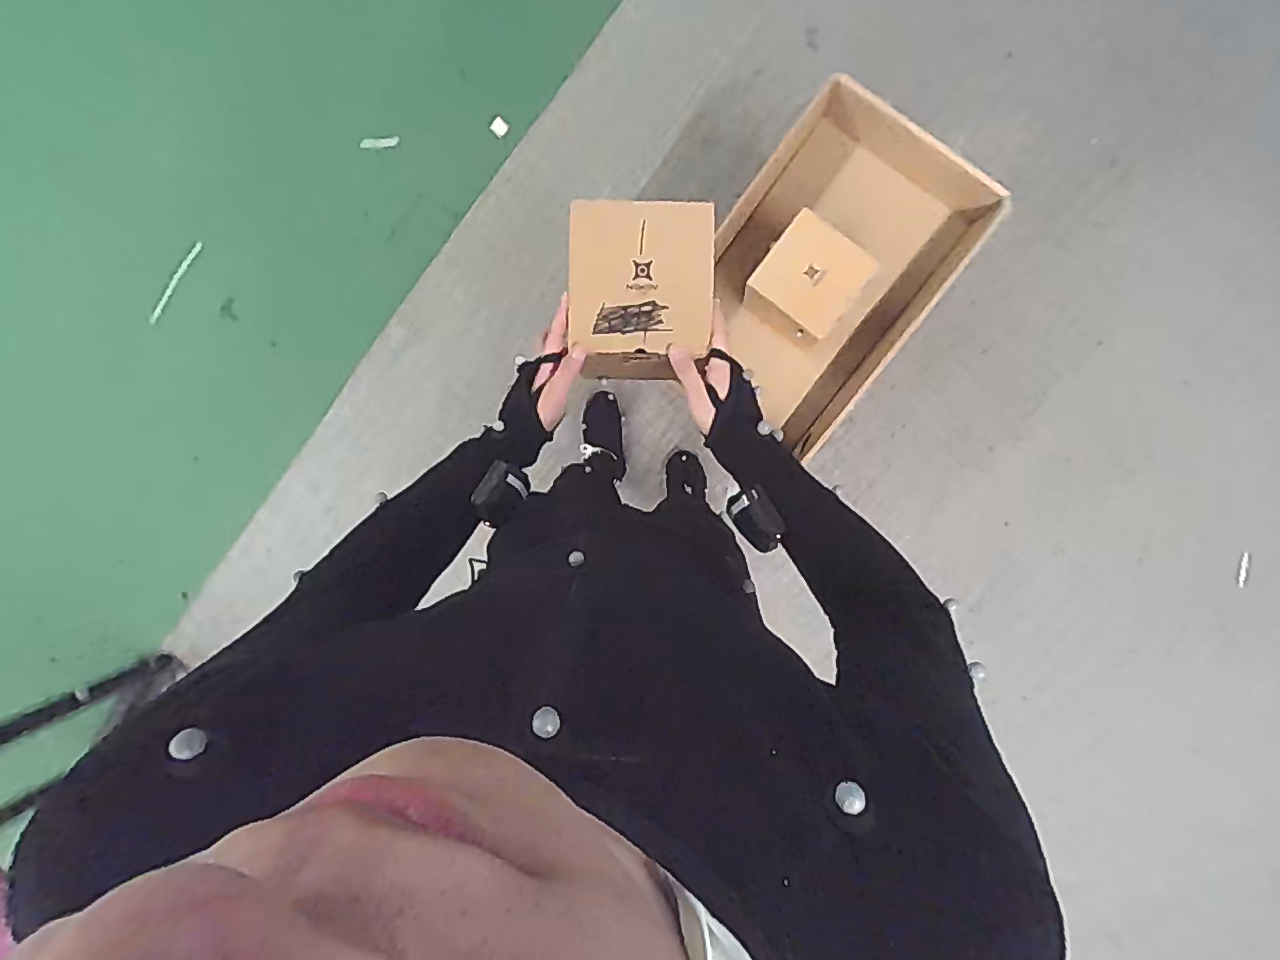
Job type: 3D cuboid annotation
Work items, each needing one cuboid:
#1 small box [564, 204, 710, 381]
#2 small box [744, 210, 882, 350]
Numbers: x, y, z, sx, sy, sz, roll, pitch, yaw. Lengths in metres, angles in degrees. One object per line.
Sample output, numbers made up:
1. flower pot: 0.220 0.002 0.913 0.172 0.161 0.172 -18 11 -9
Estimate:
1. small box: -0.004 -0.223 0.685 0.168 0.176 0.179 -1 90 -1
2. small box: 0.319 -0.370 1.041 0.179 0.176 0.168 38 98 1
